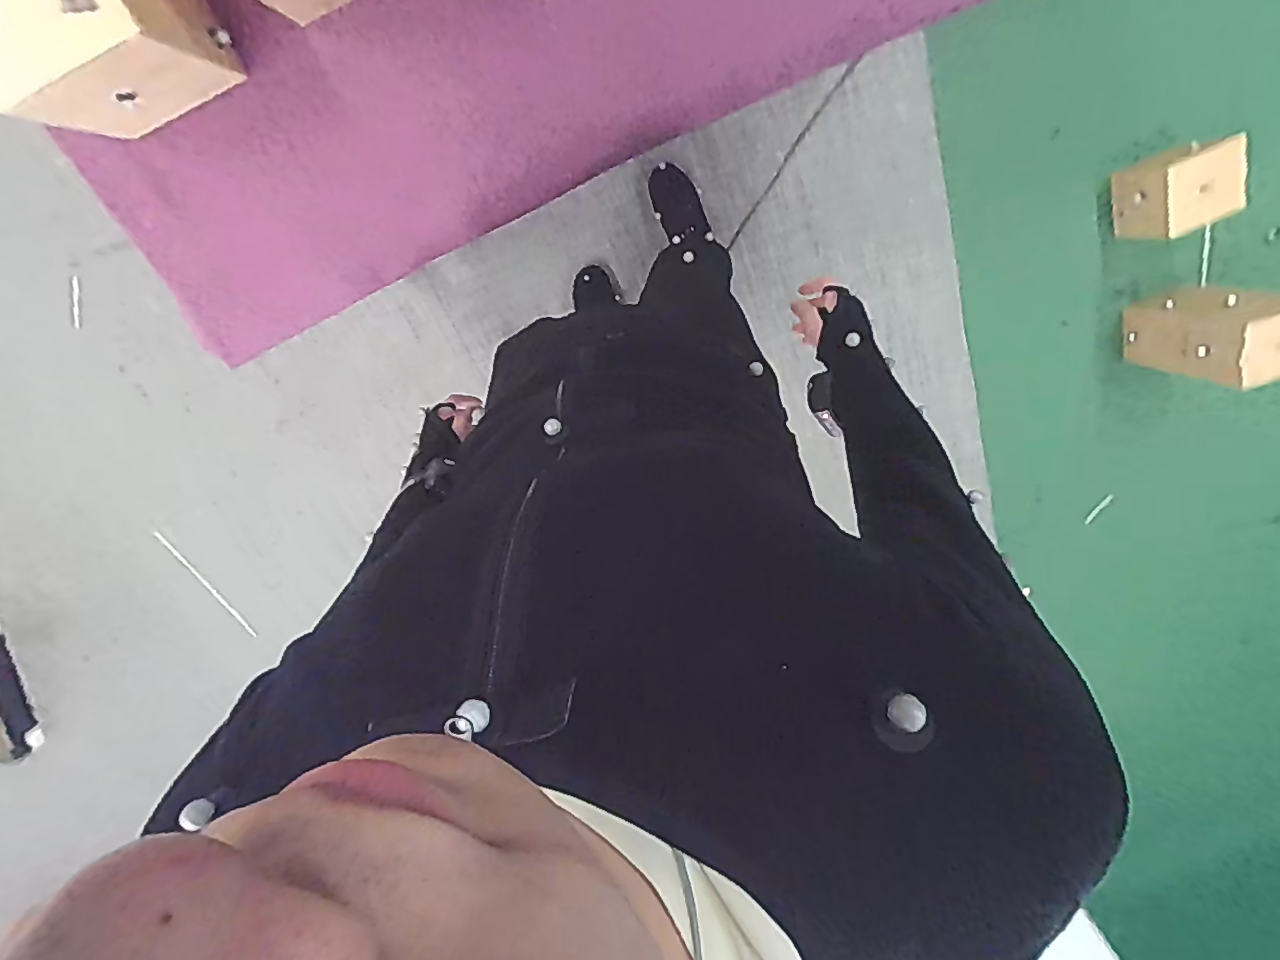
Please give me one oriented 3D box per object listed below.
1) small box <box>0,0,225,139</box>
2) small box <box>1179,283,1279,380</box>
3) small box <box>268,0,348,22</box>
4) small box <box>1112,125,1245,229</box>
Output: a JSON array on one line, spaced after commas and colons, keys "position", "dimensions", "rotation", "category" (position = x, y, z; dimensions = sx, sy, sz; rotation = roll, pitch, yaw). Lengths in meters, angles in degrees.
[{"position": [-0.580, -0.481, 0.553], "dimensions": [0.179, 0.176, 0.168], "rotation": [-22, 114, 8], "category": "small box"}, {"position": [1.492, -0.369, 1.331], "dimensions": [0.179, 0.176, 0.168], "rotation": [-19, 115, 8], "category": "small box"}, {"position": [-0.354, -0.594, 0.512], "dimensions": [0.168, 0.176, 0.179], "rotation": [-21, 115, 7], "category": "small box"}, {"position": [1.315, -0.734, 1.334], "dimensions": [0.179, 0.176, 0.168], "rotation": [-24, 114, 7], "category": "small box"}]
